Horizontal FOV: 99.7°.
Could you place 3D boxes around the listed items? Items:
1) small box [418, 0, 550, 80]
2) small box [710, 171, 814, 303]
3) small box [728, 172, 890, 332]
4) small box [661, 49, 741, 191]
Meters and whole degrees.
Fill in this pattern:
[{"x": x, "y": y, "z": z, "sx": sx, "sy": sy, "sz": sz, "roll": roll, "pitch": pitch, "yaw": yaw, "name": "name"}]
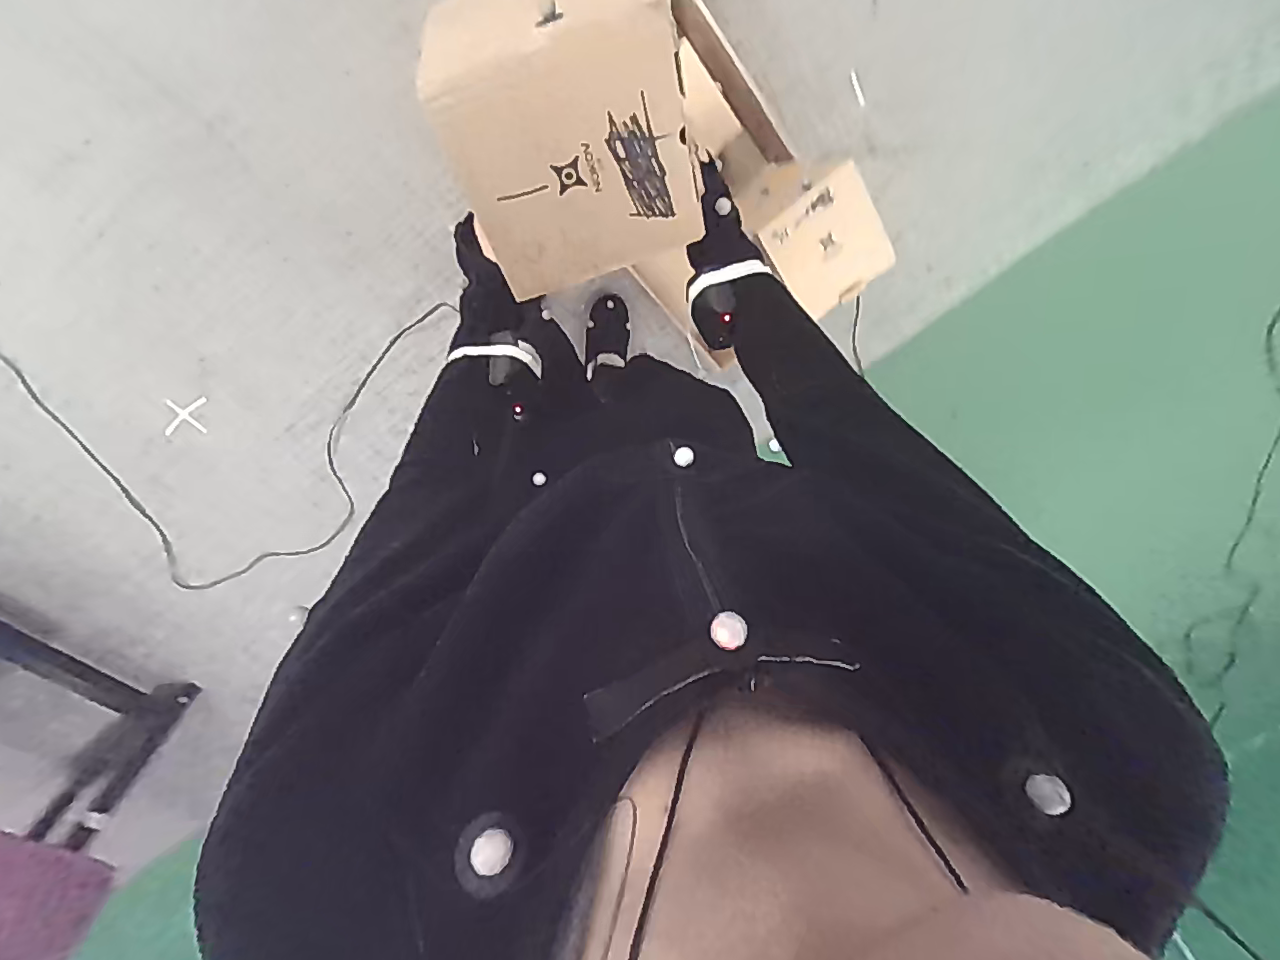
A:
[{"x": -0.107, "y": -0.407, "z": 0.567, "sx": 0.179, "sy": 0.176, "sz": 0.168, "roll": -23, "pitch": 139, "yaw": 9, "name": "small box"}, {"x": 0.262, "y": -0.464, "z": 1.044, "sx": 0.179, "sy": 0.176, "sz": 0.168, "roll": -38, "pitch": 116, "yaw": 12, "name": "small box"}, {"x": 0.273, "y": -0.381, "z": 0.900, "sx": 0.168, "sy": 0.176, "sz": 0.179, "roll": -35, "pitch": 117, "yaw": 10, "name": "small box"}, {"x": 0.067, "y": -0.697, "z": 1.079, "sx": 0.168, "sy": 0.176, "sz": 0.179, "roll": -40, "pitch": 118, "yaw": 13, "name": "small box"}]
